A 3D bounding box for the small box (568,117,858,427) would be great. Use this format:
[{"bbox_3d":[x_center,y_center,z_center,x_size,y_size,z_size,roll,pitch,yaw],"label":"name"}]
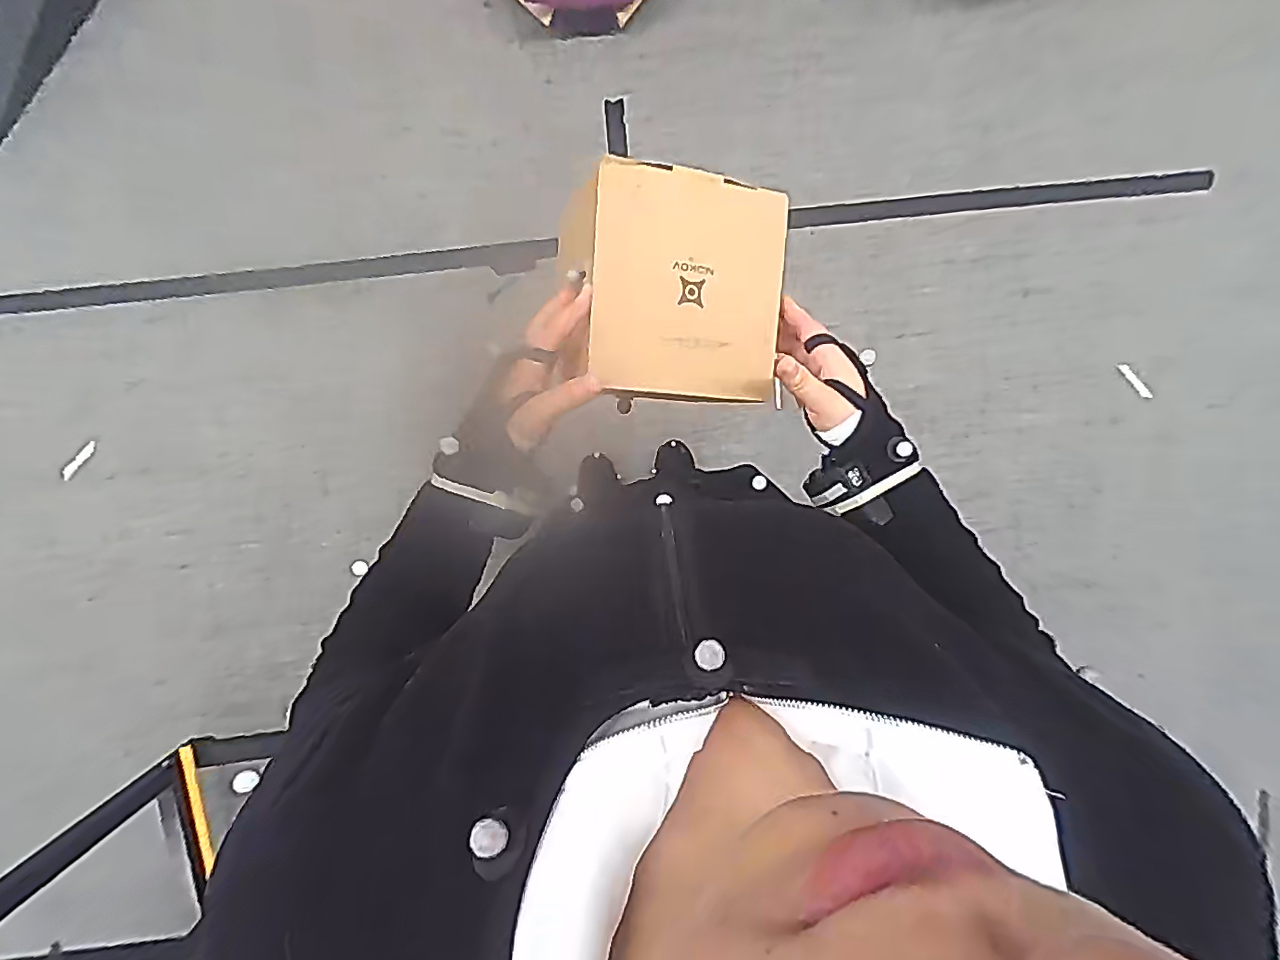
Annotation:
[{"bbox_3d":[0.041,-0.136,0.425,0.168,0.176,0.179,1,99,-18],"label":"small box"}]
